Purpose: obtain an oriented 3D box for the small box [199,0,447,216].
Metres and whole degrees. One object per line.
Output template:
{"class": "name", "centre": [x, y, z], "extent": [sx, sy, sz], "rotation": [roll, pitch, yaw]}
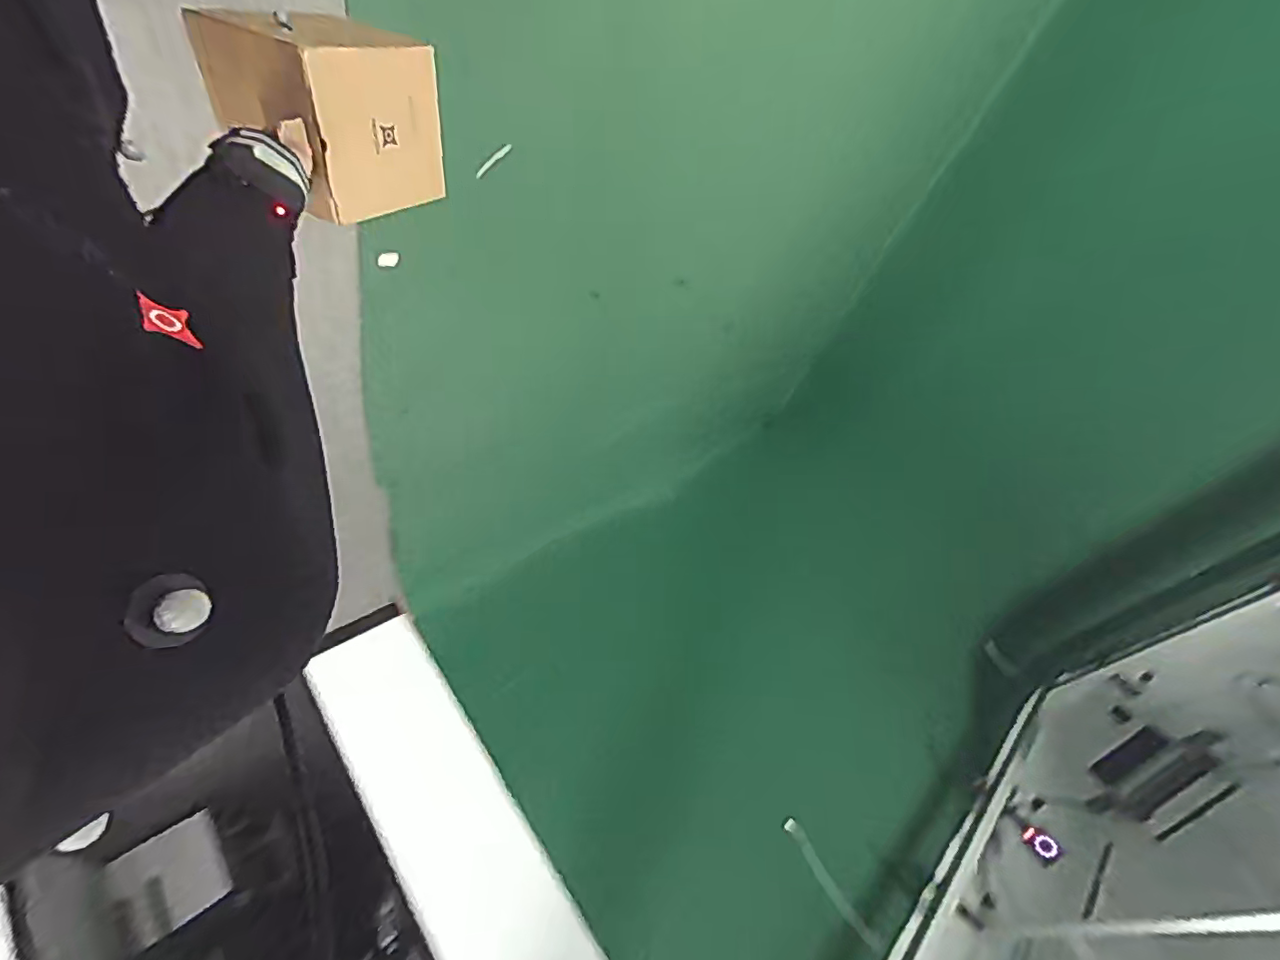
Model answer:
{"class": "small box", "centre": [-0.354, -0.432, 0.623], "extent": [0.179, 0.176, 0.168], "rotation": [-53, 164, -43]}
